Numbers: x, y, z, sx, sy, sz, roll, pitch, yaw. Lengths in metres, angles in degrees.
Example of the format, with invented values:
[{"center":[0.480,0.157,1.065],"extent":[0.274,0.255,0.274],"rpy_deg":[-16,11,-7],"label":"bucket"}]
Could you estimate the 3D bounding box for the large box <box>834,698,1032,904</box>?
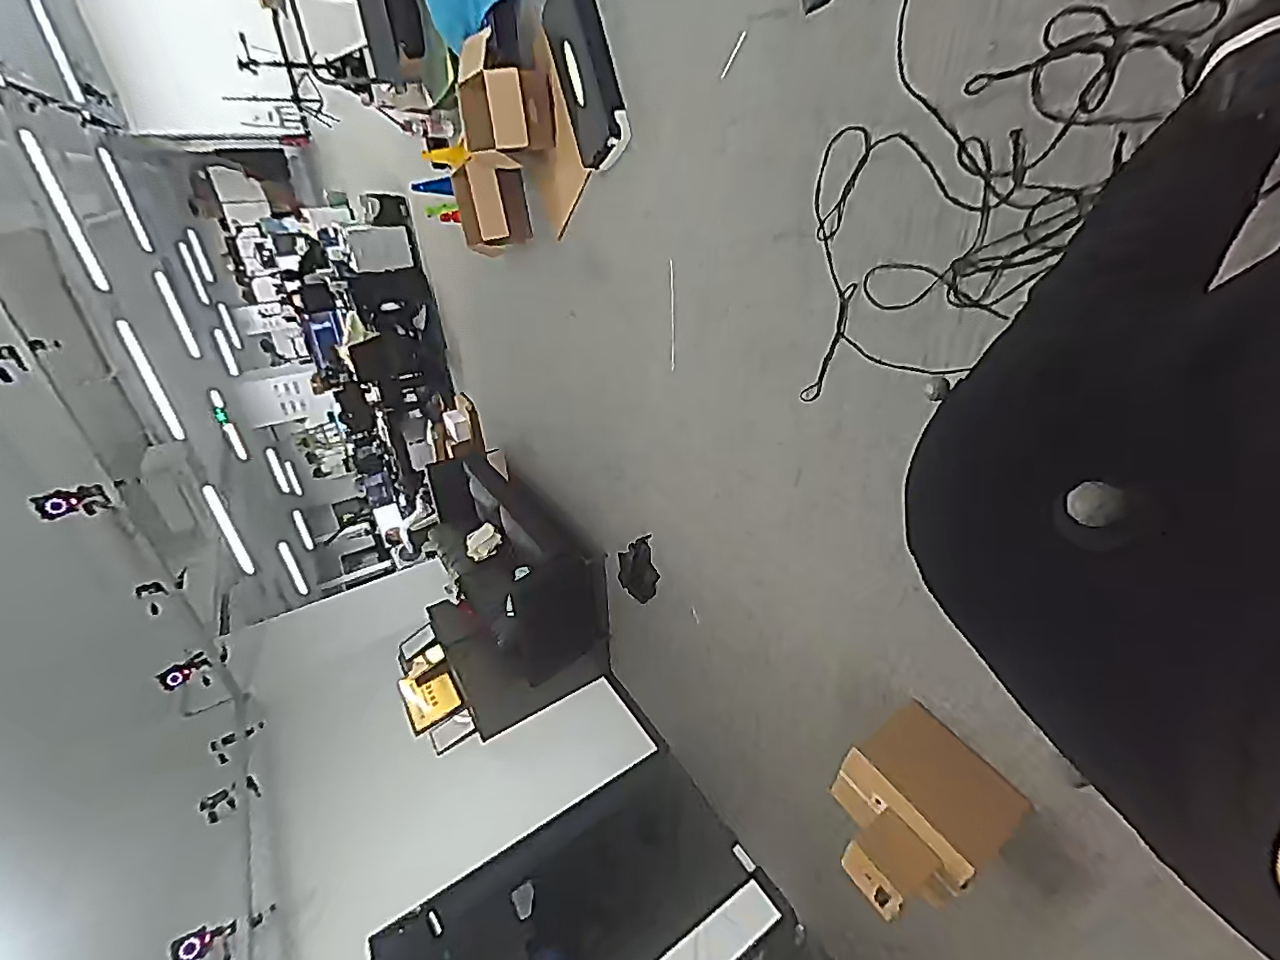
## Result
[{"center":[0.904,0.994,1.708],"extent":[0.408,0.320,0.320],"rpy_deg":[44,142,43],"label":"large box"}]
